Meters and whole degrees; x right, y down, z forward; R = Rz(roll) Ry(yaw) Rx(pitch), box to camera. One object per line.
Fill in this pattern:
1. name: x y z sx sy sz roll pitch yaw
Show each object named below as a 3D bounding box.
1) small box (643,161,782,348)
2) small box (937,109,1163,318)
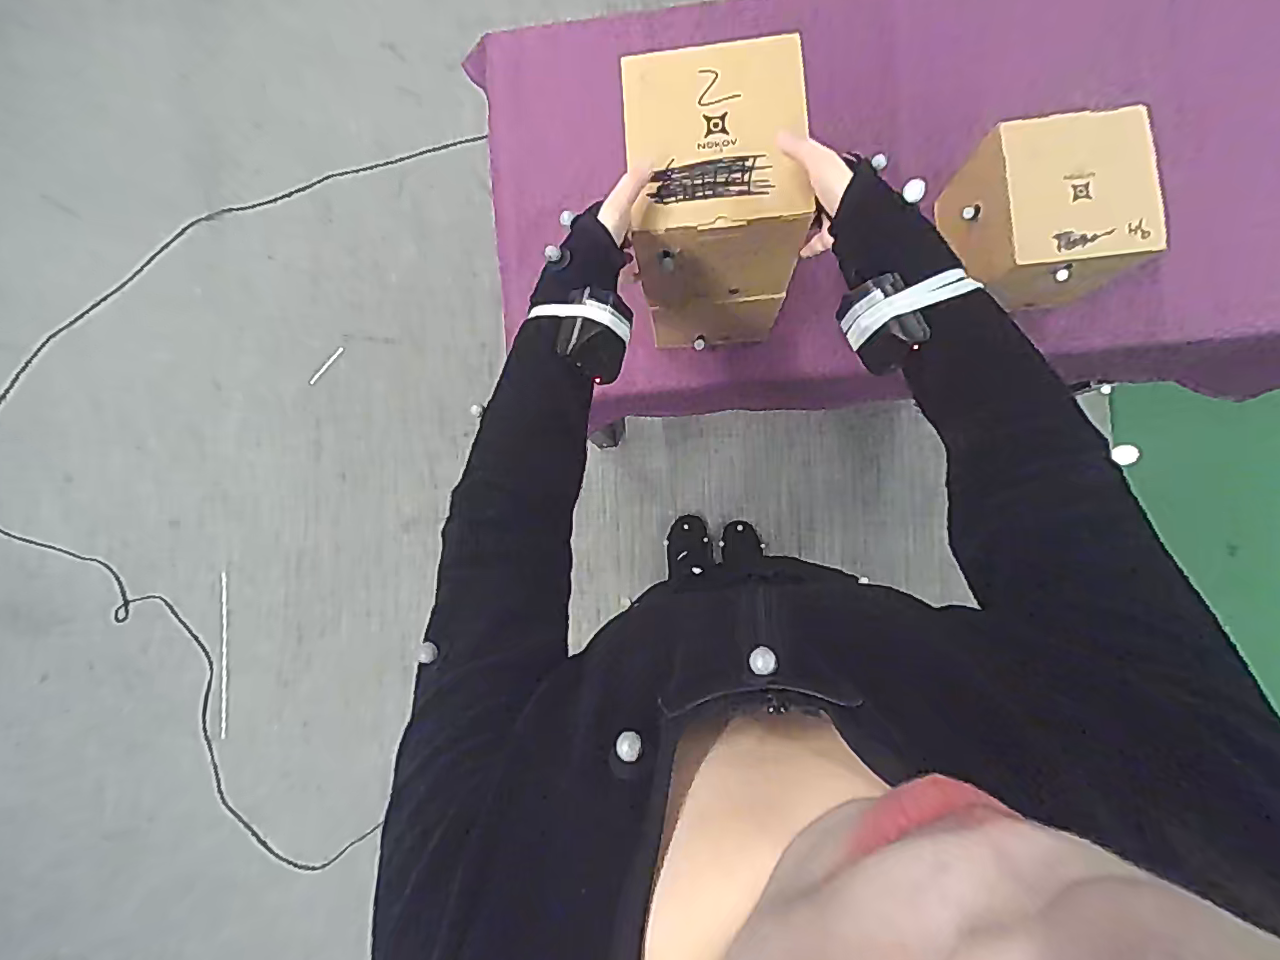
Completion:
1. small box: 0.092 -0.293 0.736 0.168 0.176 0.179 -3 87 5
2. small box: 0.509 -0.331 0.702 0.168 0.176 0.179 -5 85 6
